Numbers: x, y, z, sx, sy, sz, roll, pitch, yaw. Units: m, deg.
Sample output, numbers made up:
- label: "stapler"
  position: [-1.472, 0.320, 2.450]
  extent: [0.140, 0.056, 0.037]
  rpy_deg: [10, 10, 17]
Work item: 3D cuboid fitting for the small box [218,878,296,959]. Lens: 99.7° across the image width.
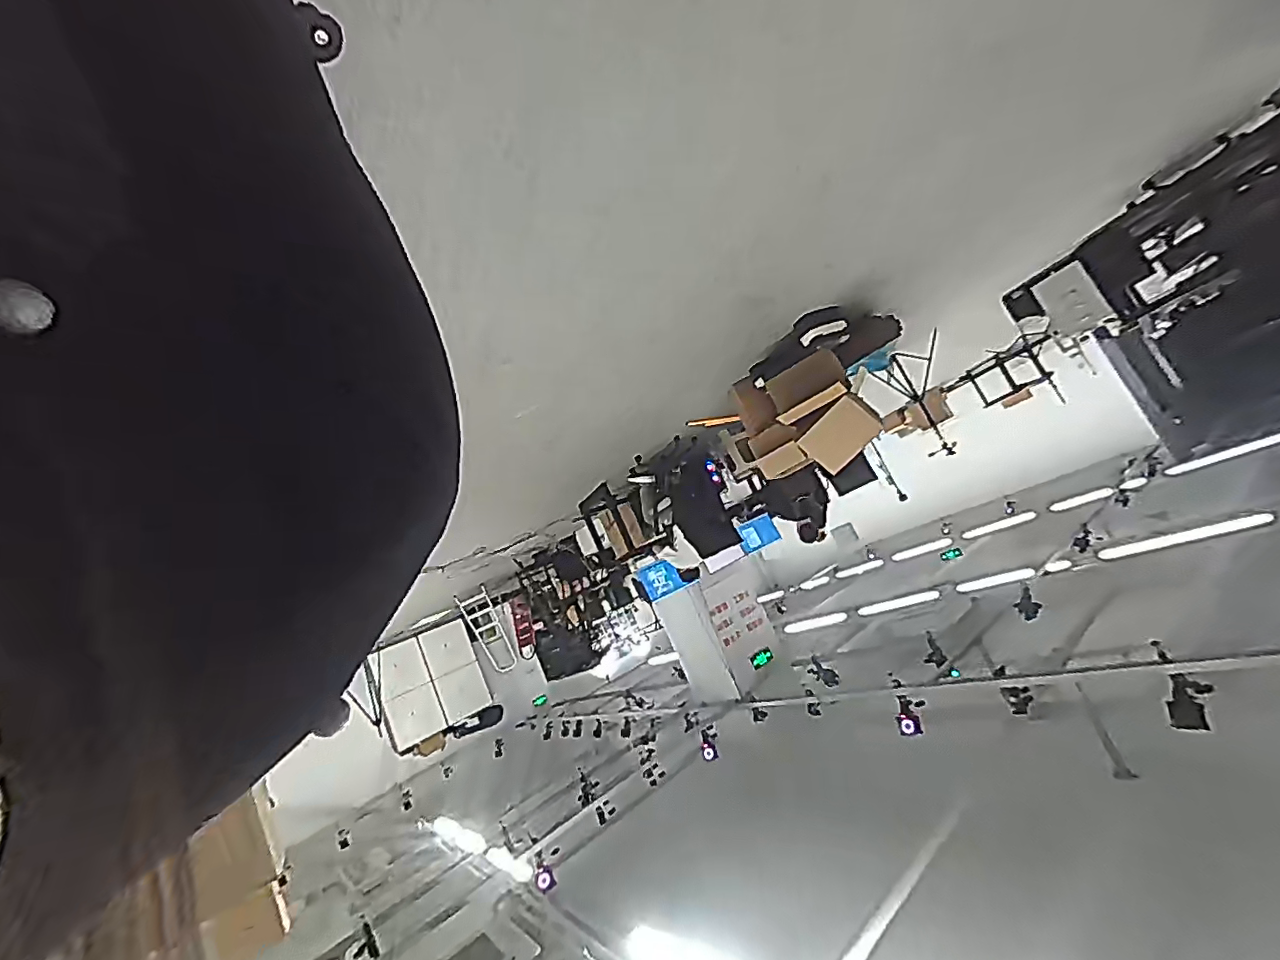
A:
- label: "small box"
  position: [-1.275, 1.475, 1.799]
  extent: [0.179, 0.176, 0.168]
  rpy_deg: [-18, 165, -32]
